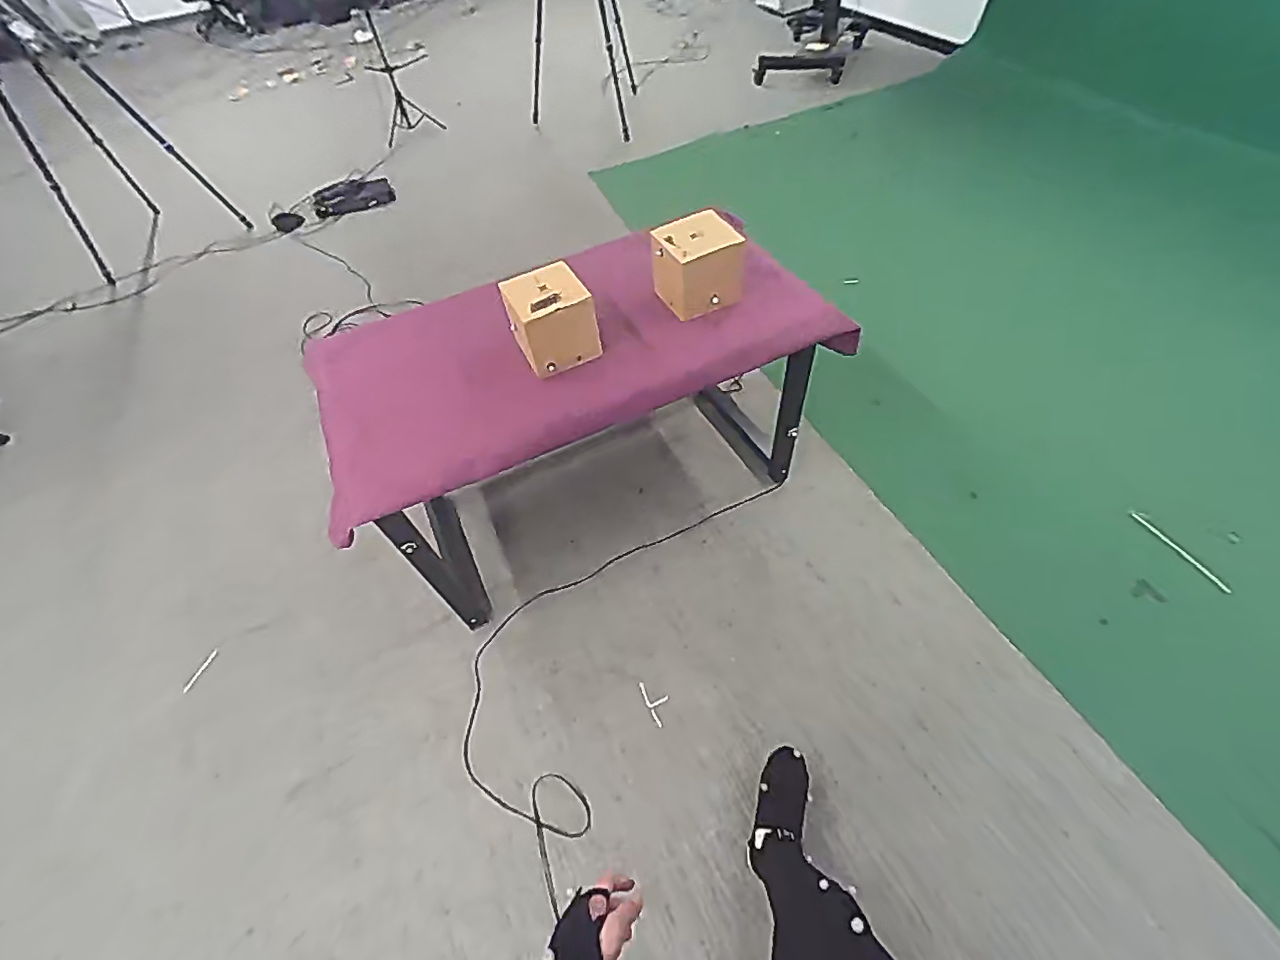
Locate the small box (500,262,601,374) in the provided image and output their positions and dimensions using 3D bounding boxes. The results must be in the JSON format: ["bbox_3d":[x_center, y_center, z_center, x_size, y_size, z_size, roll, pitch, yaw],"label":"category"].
[{"bbox_3d":[-0.205,-0.371,1.265,0.168,0.176,0.179,-24,54,-13],"label":"small box"}]

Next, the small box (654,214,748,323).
[{"bbox_3d":[0.146,-0.524,1.346,0.179,0.176,0.168,-23,55,-12],"label":"small box"}]
